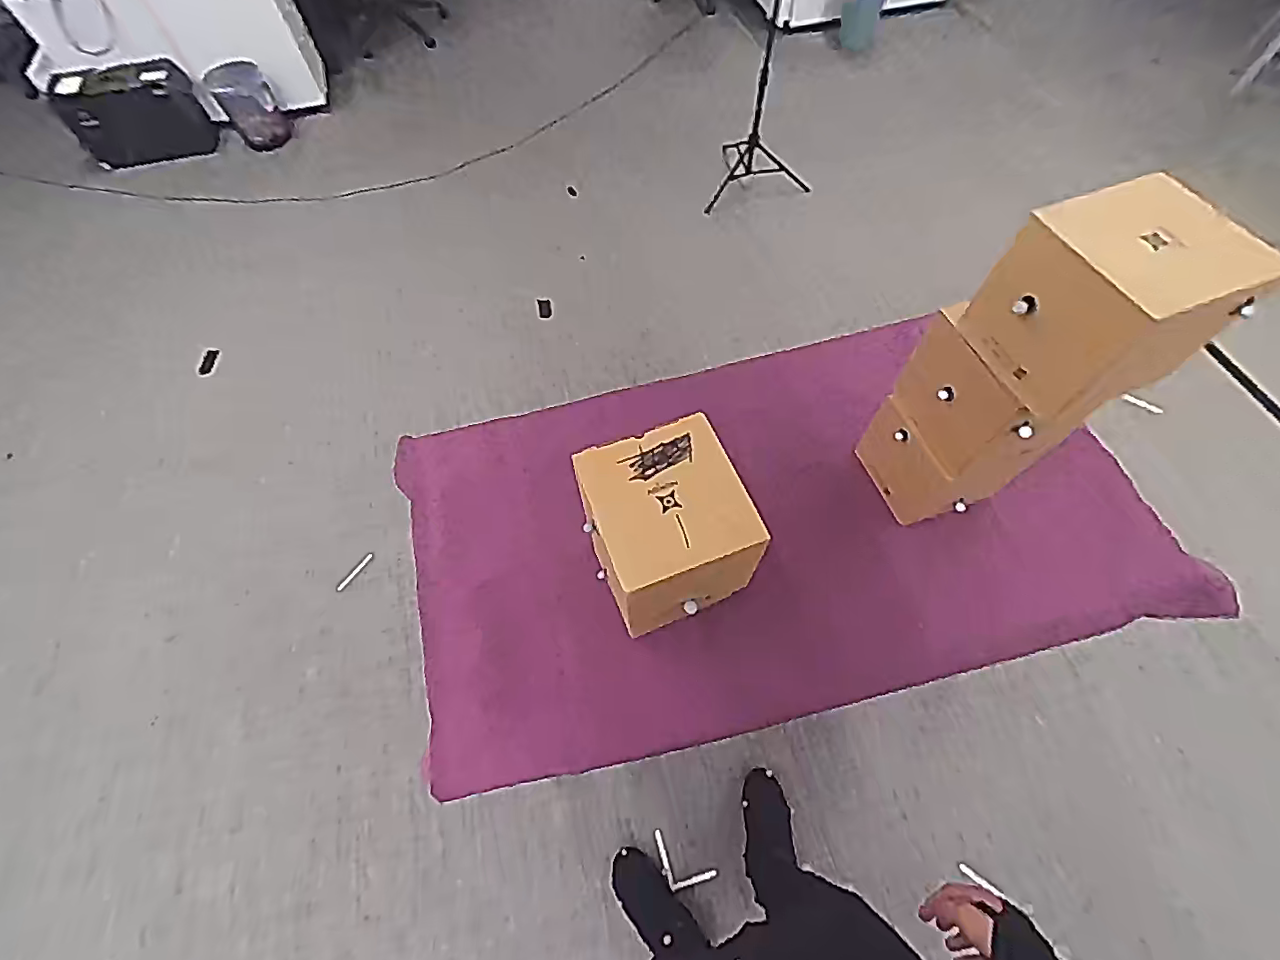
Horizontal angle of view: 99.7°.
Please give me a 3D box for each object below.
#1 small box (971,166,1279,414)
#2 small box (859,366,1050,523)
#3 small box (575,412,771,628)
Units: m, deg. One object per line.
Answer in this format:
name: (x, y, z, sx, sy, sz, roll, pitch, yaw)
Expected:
small box: (0.502, -0.197, 0.588, 0.179, 0.176, 0.168, -20, 62, -9)
small box: (0.495, -0.053, 0.883, 0.179, 0.176, 0.168, -17, 62, -8)
small box: (0.031, 0.054, 0.648, 0.168, 0.176, 0.179, -19, 63, -9)
